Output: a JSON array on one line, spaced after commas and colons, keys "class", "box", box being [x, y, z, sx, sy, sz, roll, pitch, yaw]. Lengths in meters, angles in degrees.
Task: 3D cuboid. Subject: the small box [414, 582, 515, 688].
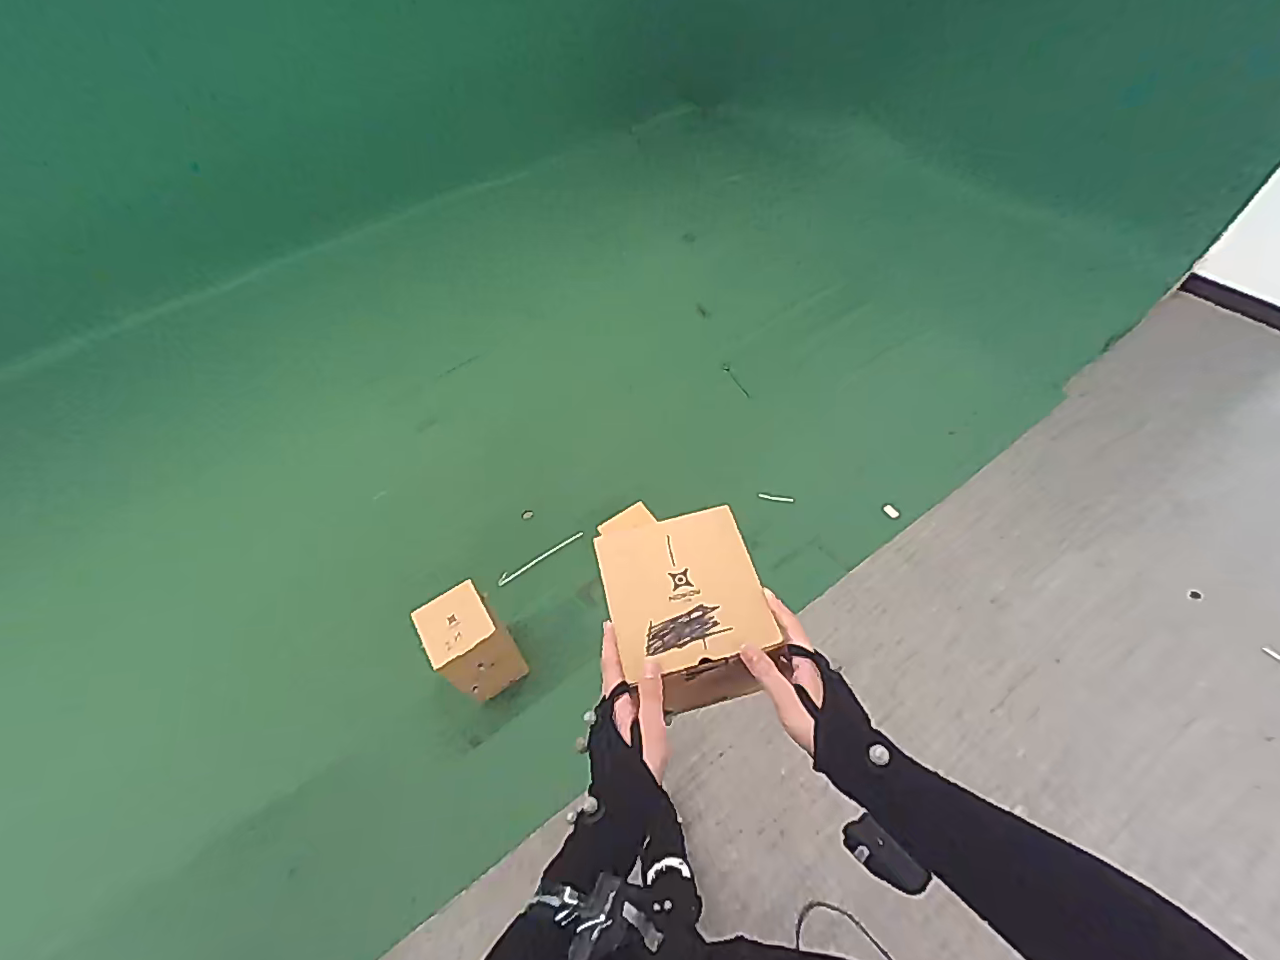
[{"class": "small box", "box": [-0.447, 0.403, 1.392, 0.168, 0.176, 0.179, -30, 57, -15]}]

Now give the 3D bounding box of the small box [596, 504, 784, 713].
[{"class": "small box", "box": [0.054, 0.160, 0.640, 0.168, 0.176, 0.179, -14, 53, -4]}]

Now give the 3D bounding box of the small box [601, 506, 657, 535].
[{"class": "small box", "box": [-0.005, 0.219, 1.692, 0.168, 0.176, 0.179, -30, 58, -17]}]
